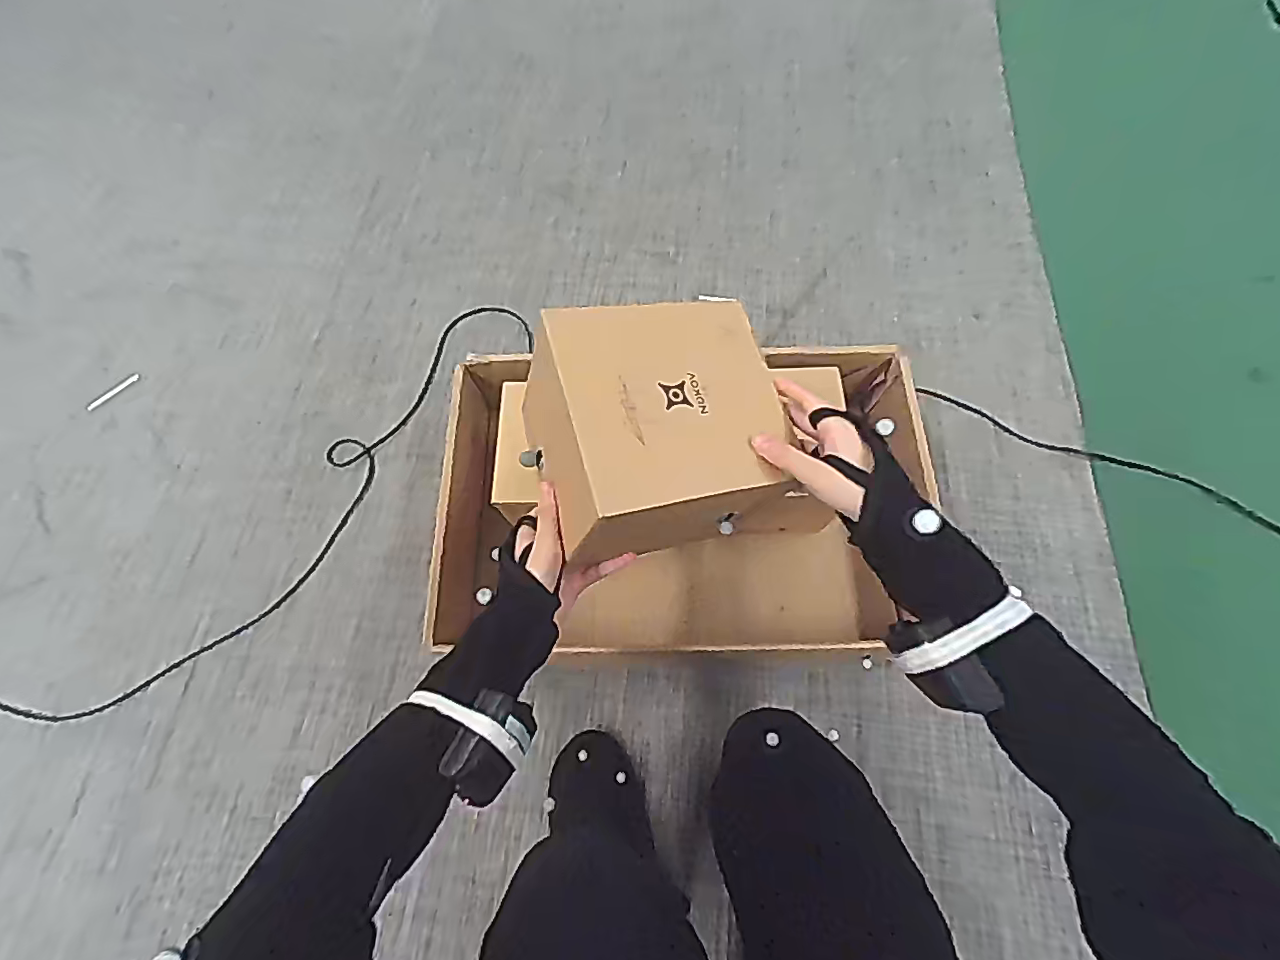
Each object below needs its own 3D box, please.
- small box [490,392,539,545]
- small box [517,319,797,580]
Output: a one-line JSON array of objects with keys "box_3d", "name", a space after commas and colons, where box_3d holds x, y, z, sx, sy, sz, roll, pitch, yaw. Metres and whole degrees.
[{"box_3d": [-0.090, -0.007, 0.741, 0.179, 0.176, 0.168, 0, 69, 0], "name": "small box"}, {"box_3d": [-0.001, -0.022, 0.480, 0.179, 0.176, 0.168, -9, 70, -21], "name": "small box"}]
